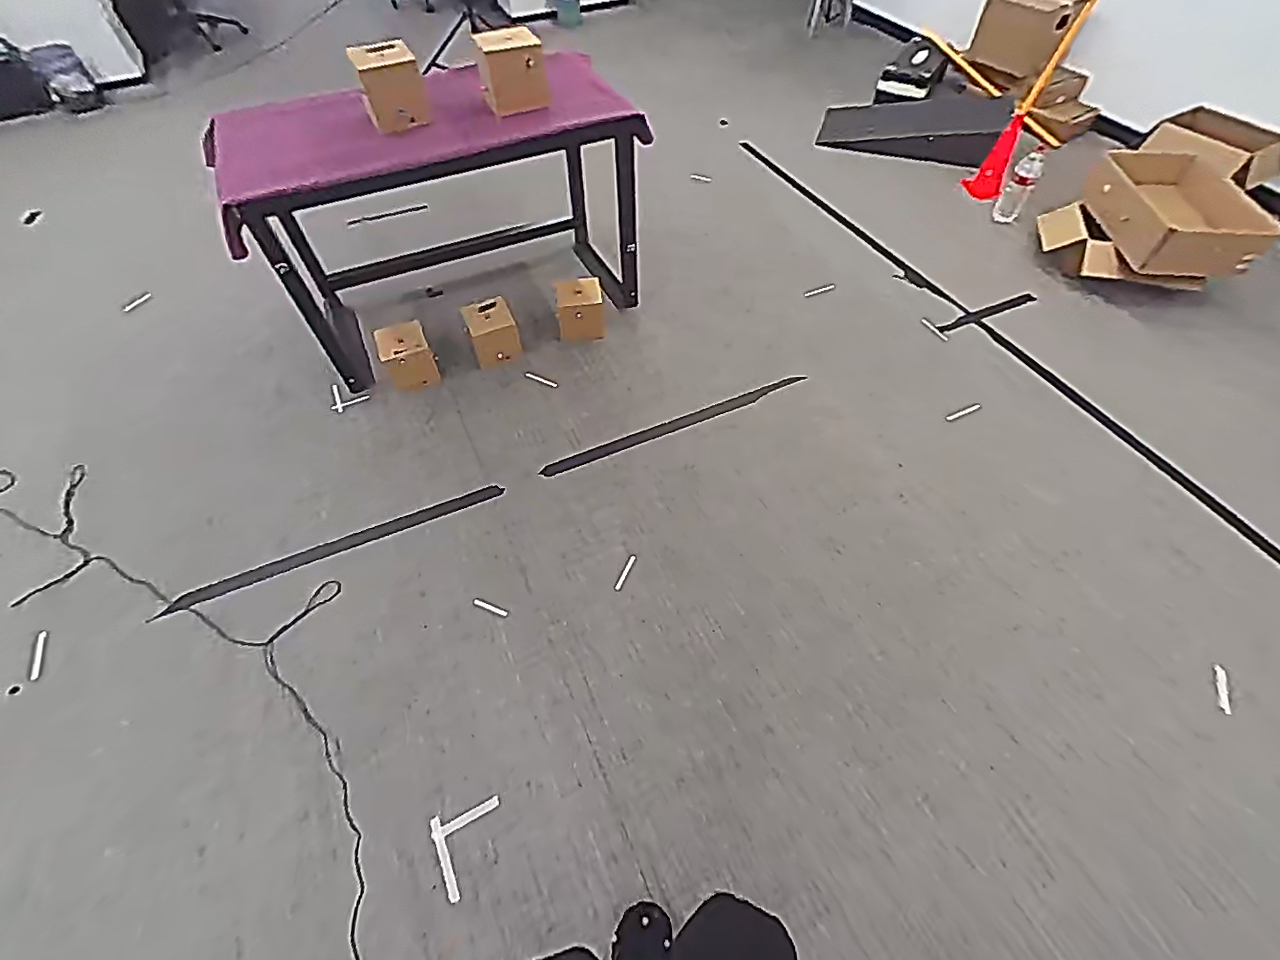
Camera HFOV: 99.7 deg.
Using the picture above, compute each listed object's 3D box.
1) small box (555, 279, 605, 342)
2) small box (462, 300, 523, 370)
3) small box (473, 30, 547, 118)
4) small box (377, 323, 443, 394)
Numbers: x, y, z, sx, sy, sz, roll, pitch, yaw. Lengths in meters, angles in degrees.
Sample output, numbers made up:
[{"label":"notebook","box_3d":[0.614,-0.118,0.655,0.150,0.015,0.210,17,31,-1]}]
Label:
[{"label":"small box","box_3d":[-0.236,-0.673,2.159,0.179,0.176,0.168,-8,56,-3]},{"label":"small box","box_3d":[-0.565,-0.557,2.081,0.168,0.176,0.179,-23,59,-14]},{"label":"small box","box_3d":[-0.396,-1.260,1.680,0.179,0.176,0.168,-21,56,-12]},{"label":"small box","box_3d":[-0.855,-0.450,2.012,0.168,0.176,0.179,-21,57,-13]}]
